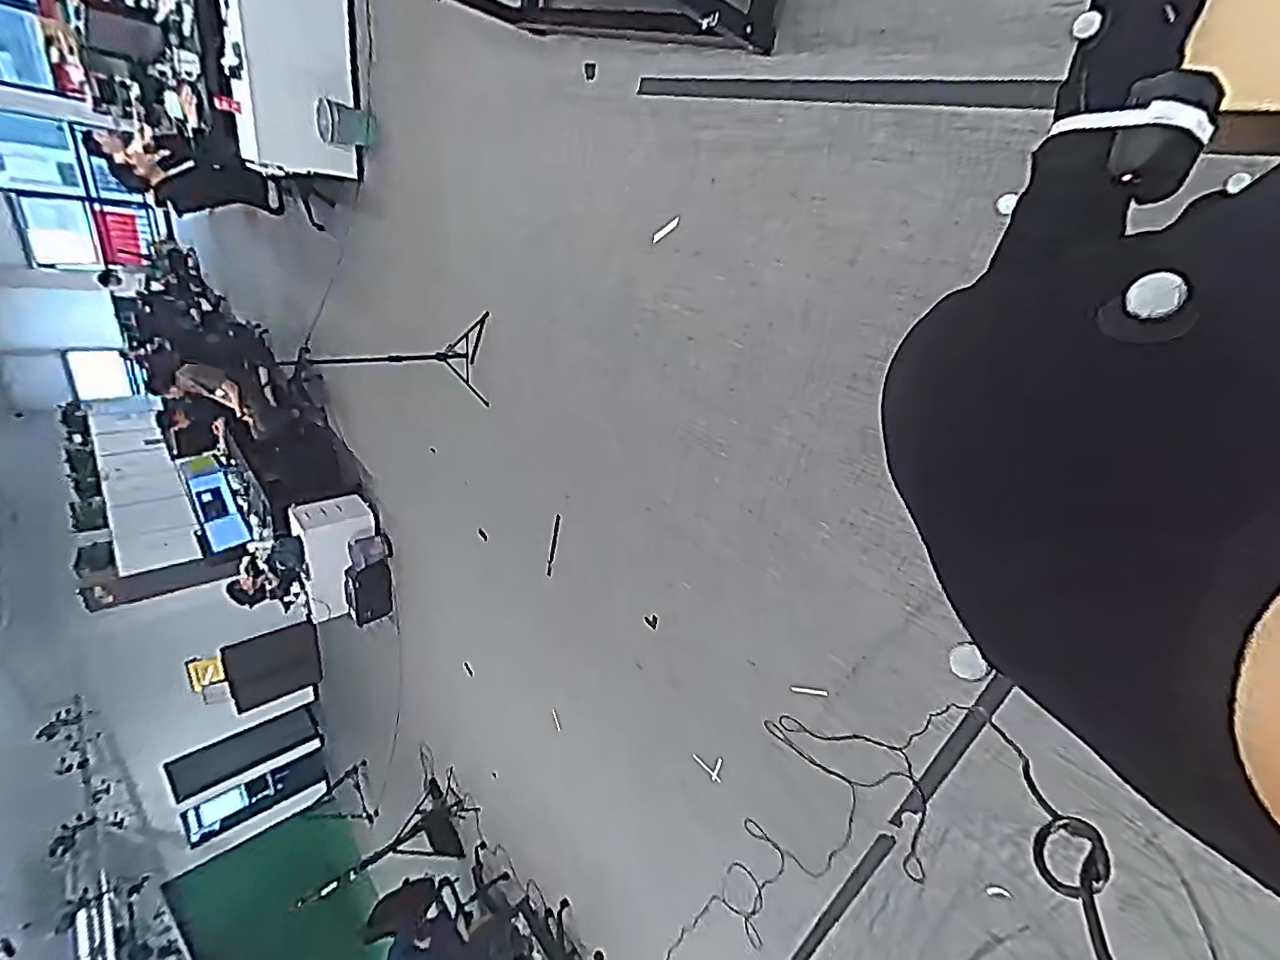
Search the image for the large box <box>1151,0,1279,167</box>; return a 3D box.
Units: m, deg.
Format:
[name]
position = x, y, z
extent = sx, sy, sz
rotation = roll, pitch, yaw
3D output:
[large box]
position = 0.632, -0.375, 0.325
extent = 0.408, 0.320, 0.320
rotation = 26, 126, 33
